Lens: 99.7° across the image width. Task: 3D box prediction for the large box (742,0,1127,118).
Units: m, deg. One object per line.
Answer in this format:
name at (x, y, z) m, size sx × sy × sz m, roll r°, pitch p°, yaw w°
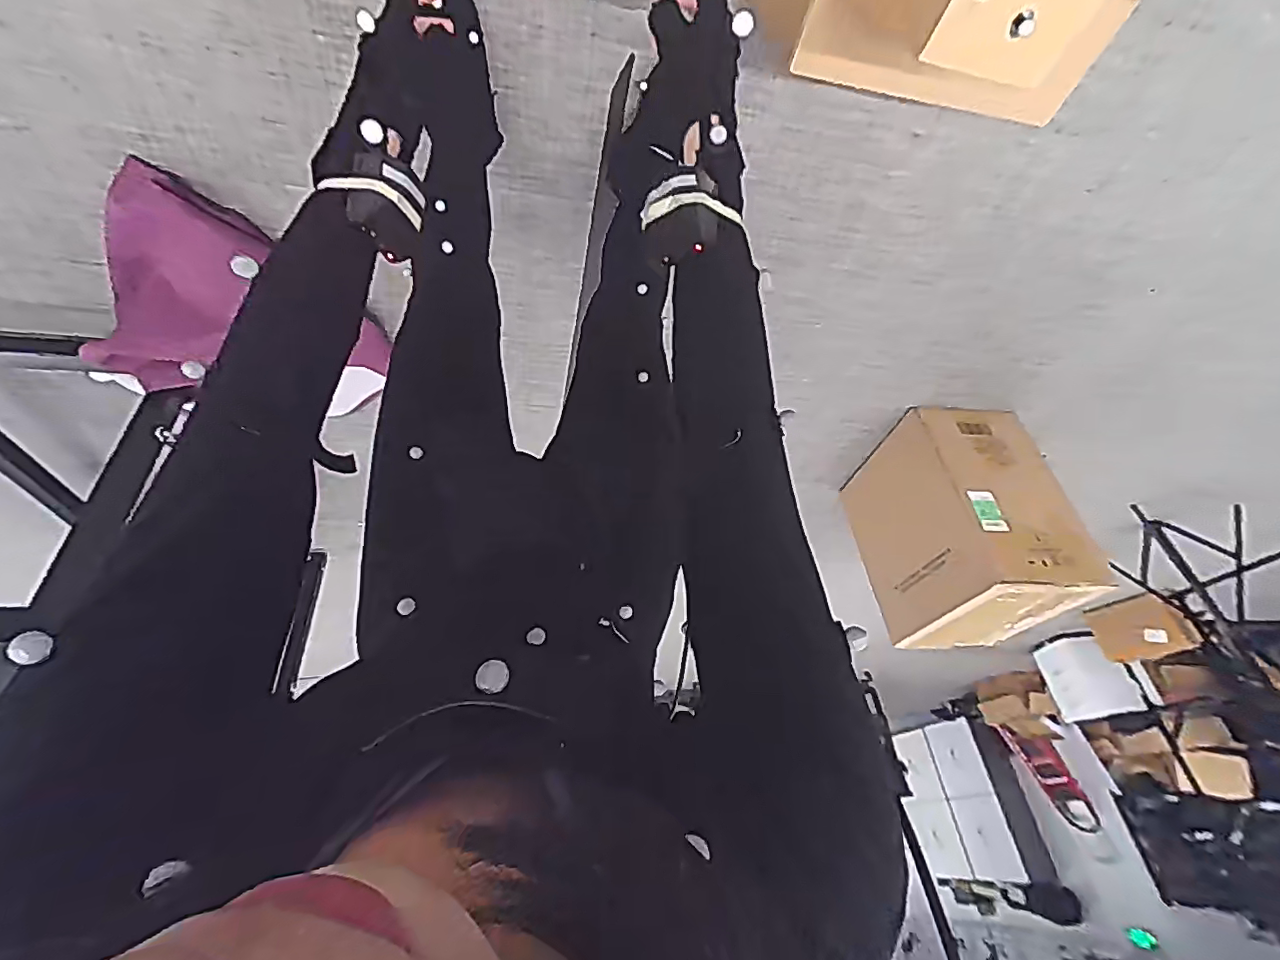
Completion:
large box at (0.390, -0.727, 0.692) m, size 0.408 × 0.320 × 0.320 m, roll 1°, pitch 146°, yaw -13°
